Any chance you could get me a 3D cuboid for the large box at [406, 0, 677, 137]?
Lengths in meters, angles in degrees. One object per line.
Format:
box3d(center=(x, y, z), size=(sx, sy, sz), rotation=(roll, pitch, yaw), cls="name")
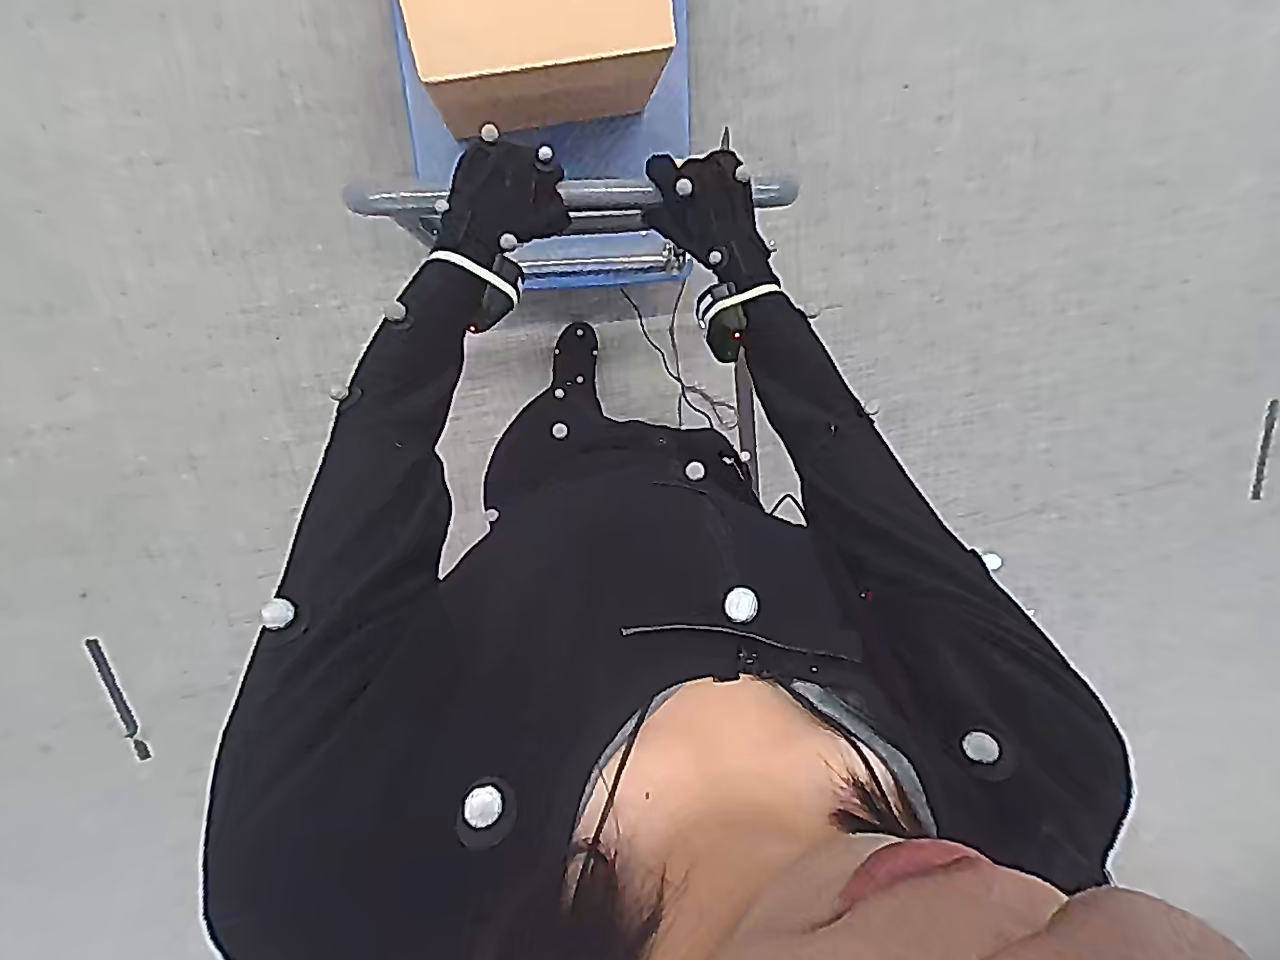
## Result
box3d(center=(-0.186, -0.837, 0.929), size=(0.408, 0.320, 0.320), rotation=(-13, 110, -6), cls="large box")
